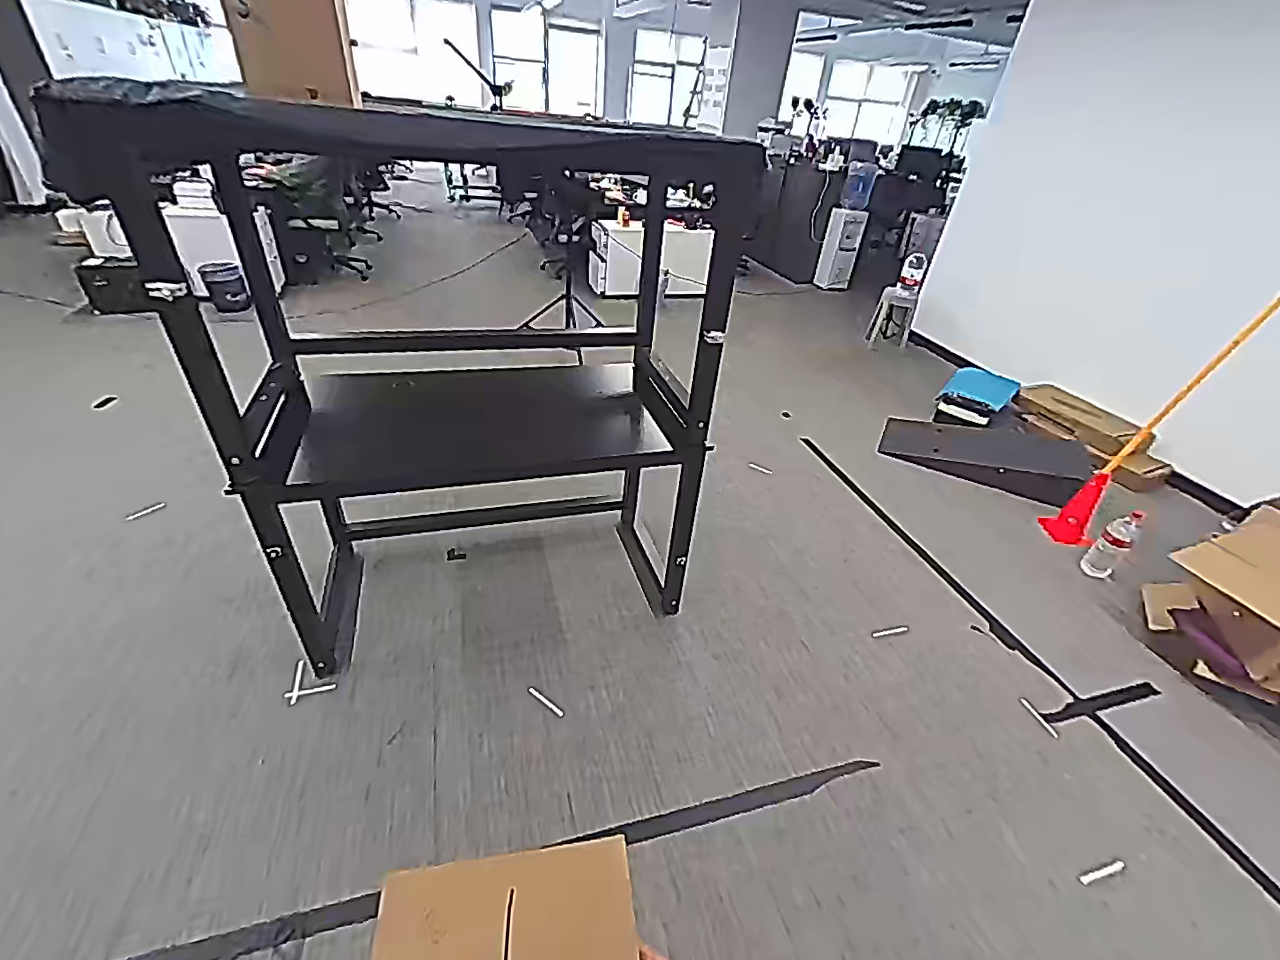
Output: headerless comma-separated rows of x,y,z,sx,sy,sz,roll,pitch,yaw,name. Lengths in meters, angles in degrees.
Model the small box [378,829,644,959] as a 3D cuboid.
-0.080,0.373,0.370,0.168,0.176,0.179,-3,42,-10,small box
